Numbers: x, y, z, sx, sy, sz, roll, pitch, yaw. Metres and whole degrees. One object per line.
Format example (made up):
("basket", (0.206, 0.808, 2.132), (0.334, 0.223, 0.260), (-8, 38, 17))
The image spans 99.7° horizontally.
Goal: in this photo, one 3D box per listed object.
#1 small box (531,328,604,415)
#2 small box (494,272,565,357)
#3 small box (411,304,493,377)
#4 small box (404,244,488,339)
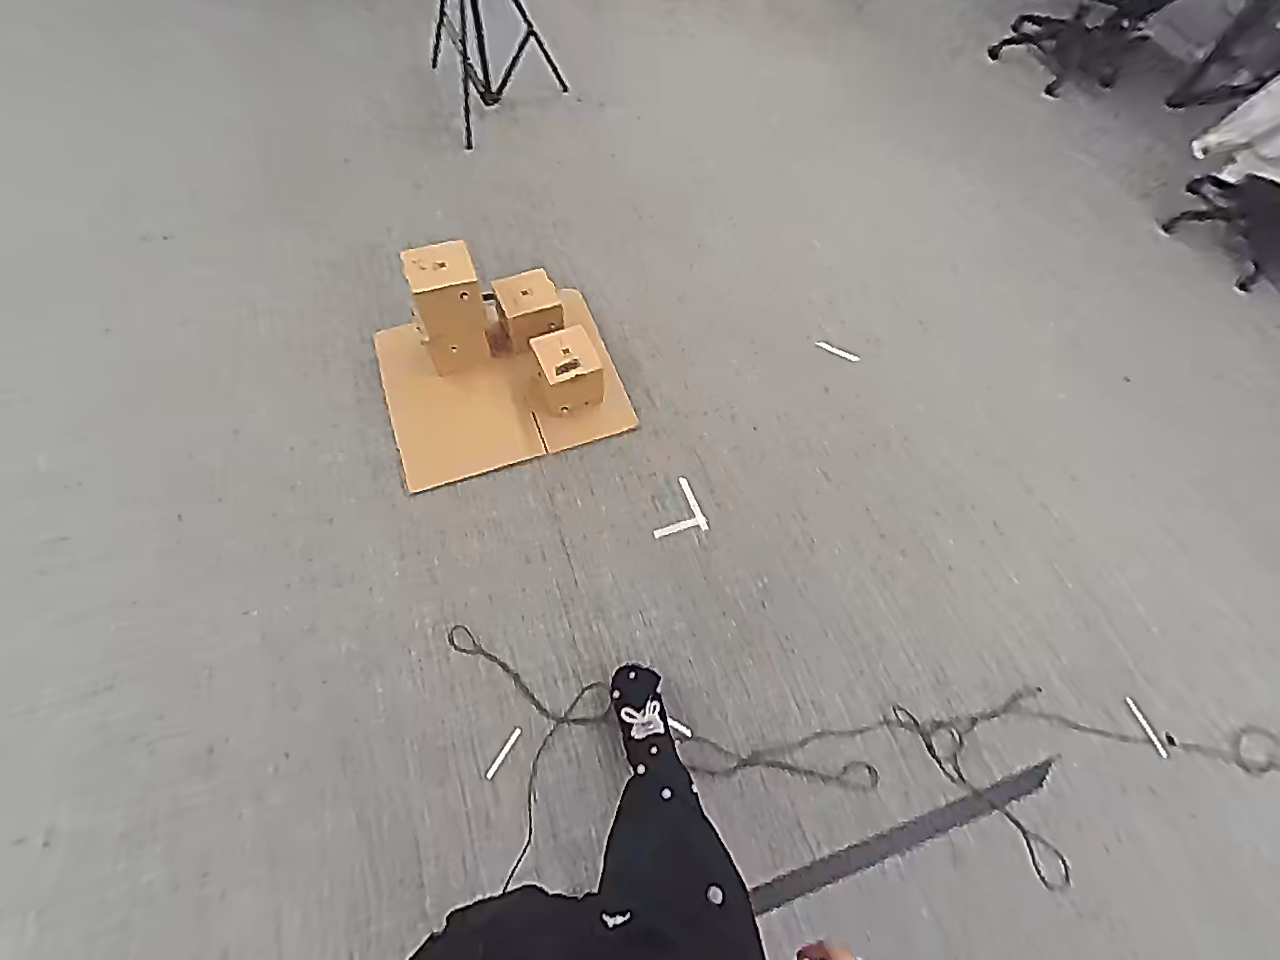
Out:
("small box", (-0.212, -0.317, 1.621), (0.168, 0.176, 0.179), (-21, 67, -14))
("small box", (-0.345, -0.522, 1.716), (0.179, 0.176, 0.168), (-22, 66, -14))
("small box", (-0.569, -0.443, 1.655), (0.179, 0.176, 0.168), (-22, 68, -13))
("small box", (-0.535, -0.523, 1.513), (0.179, 0.176, 0.168), (-18, 65, -13))
